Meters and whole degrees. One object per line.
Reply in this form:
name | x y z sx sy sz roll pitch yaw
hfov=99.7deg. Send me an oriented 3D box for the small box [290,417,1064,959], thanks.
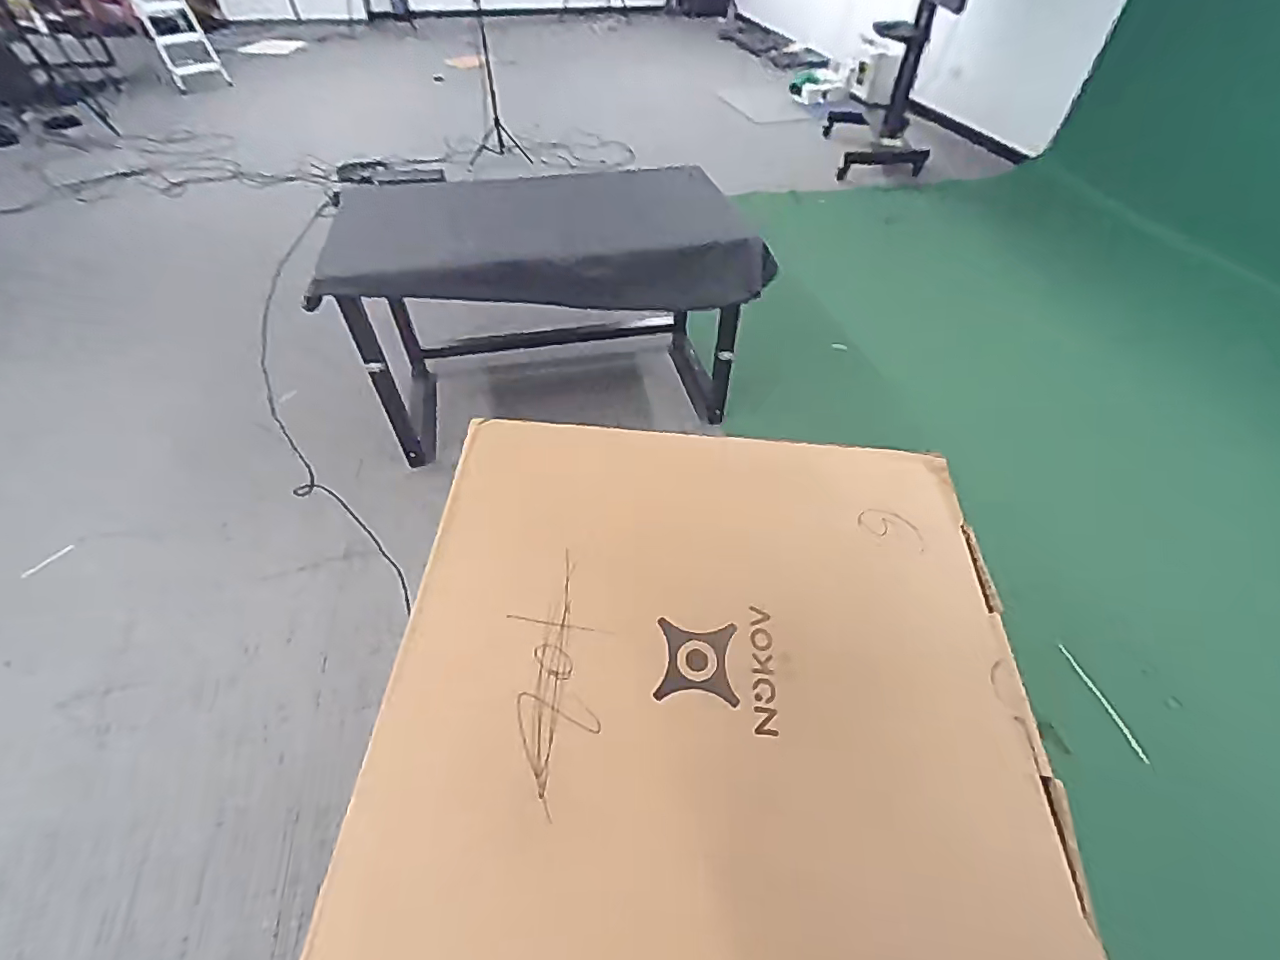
small box | 0.012 0.094 0.227 0.179 0.176 0.168 3 54 1
